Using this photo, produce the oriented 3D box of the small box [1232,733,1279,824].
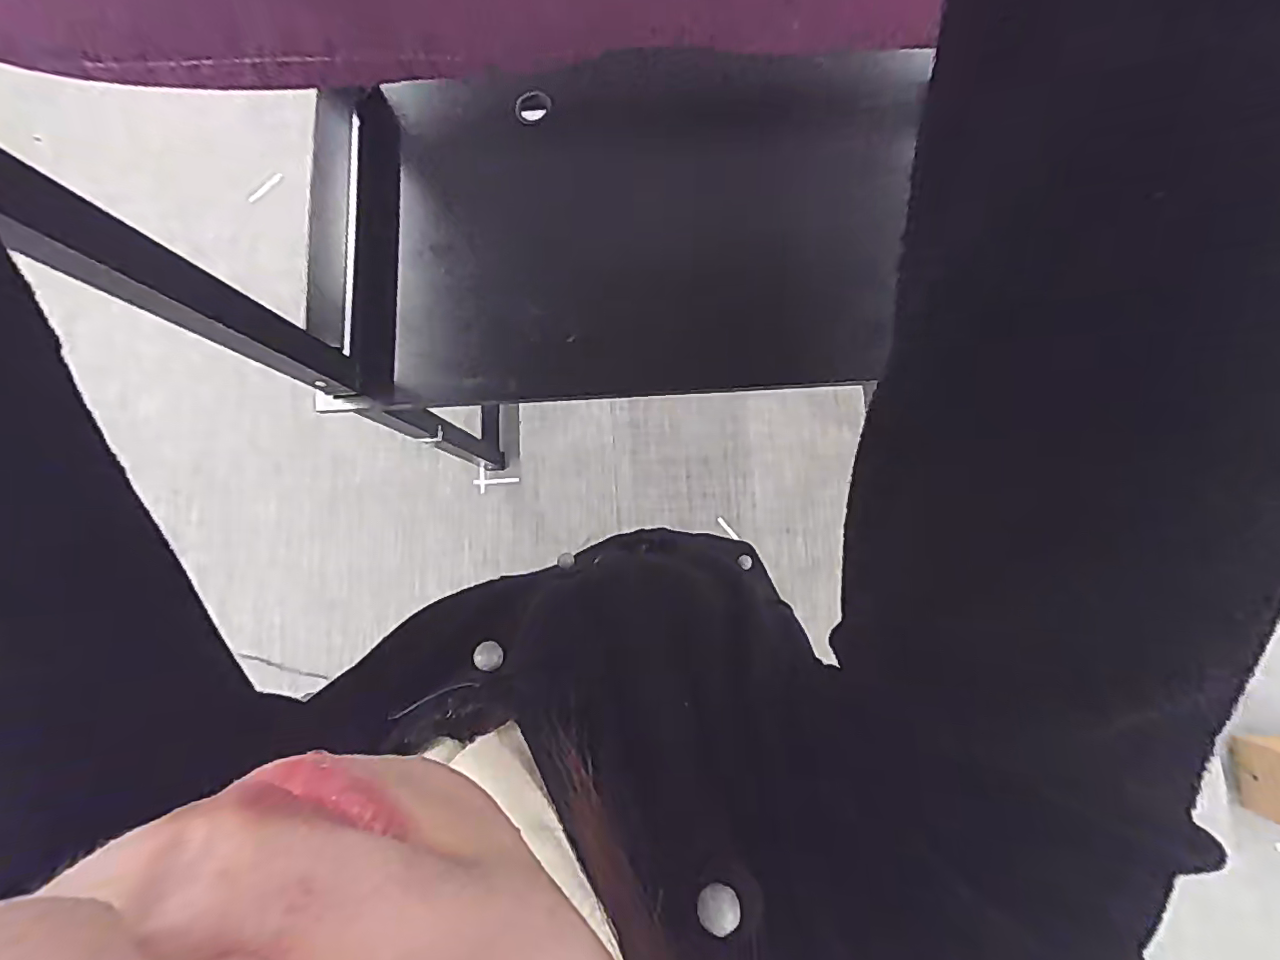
[{"bbox_3d":[1.546,0.708,1.251,0.168,0.176,0.179,-1,83,4],"label":"small box"}]
